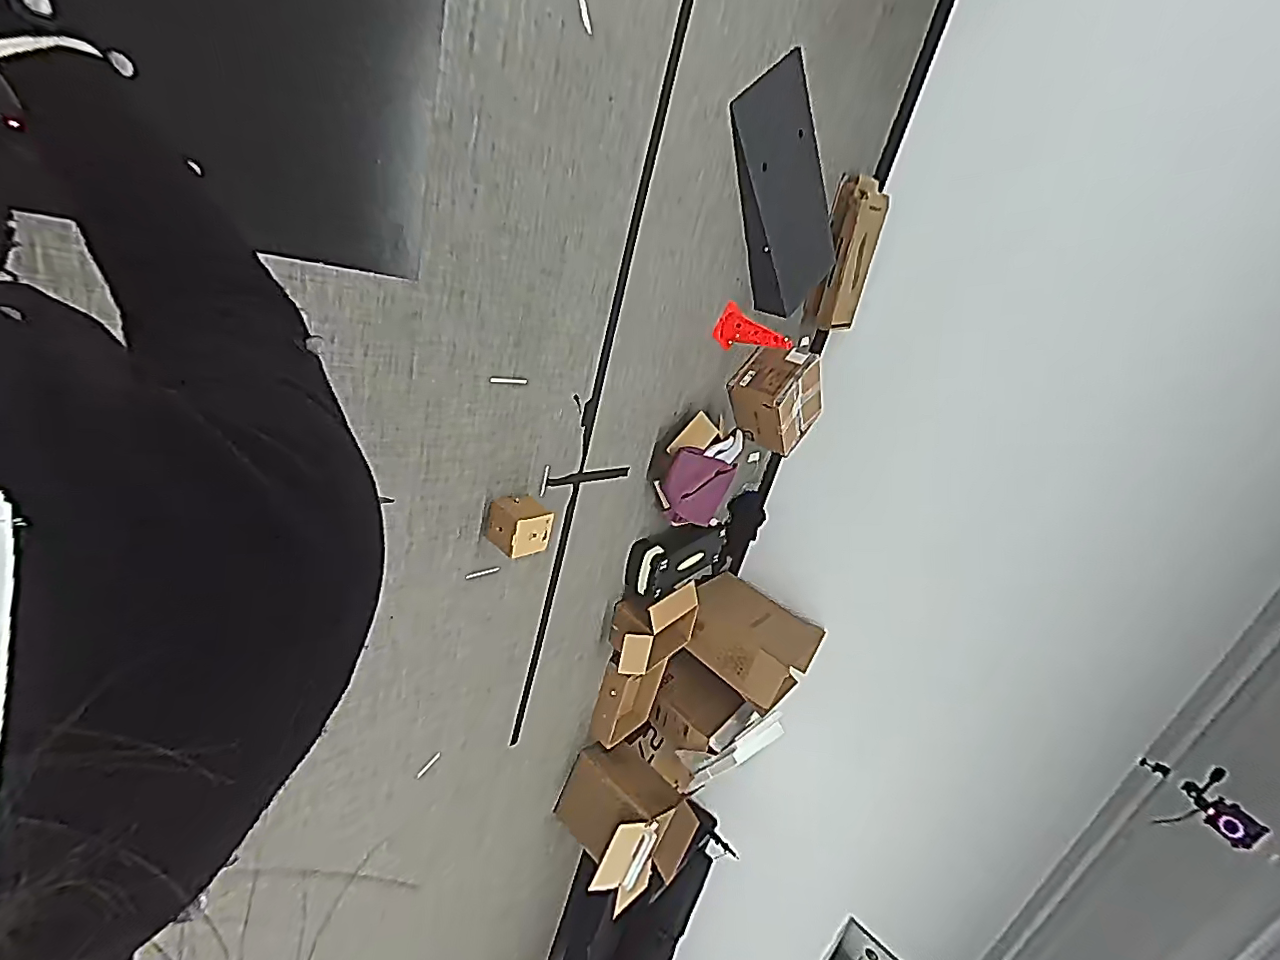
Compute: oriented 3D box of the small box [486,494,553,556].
[{"bbox_3d":[-0.468,0.167,2.082,0.179,0.176,0.168,-9,122,-49],"label":"small box"}]
